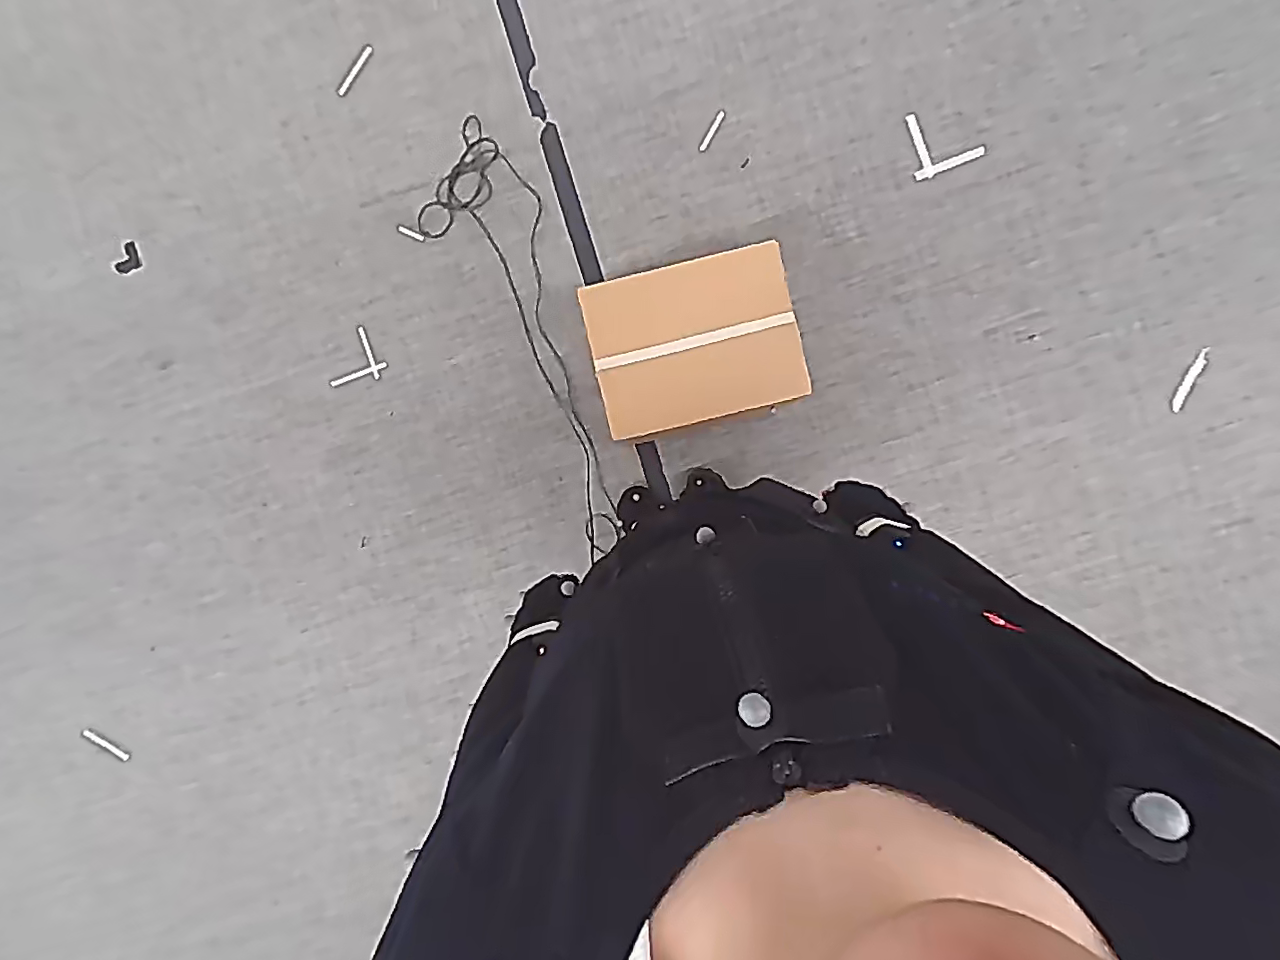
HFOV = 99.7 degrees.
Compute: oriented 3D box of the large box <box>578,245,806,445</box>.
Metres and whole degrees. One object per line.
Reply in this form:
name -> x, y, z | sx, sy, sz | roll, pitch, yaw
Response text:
large box -> 0.108, -0.274, 1.221 | 0.408, 0.320, 0.320 | -13, 91, 2
